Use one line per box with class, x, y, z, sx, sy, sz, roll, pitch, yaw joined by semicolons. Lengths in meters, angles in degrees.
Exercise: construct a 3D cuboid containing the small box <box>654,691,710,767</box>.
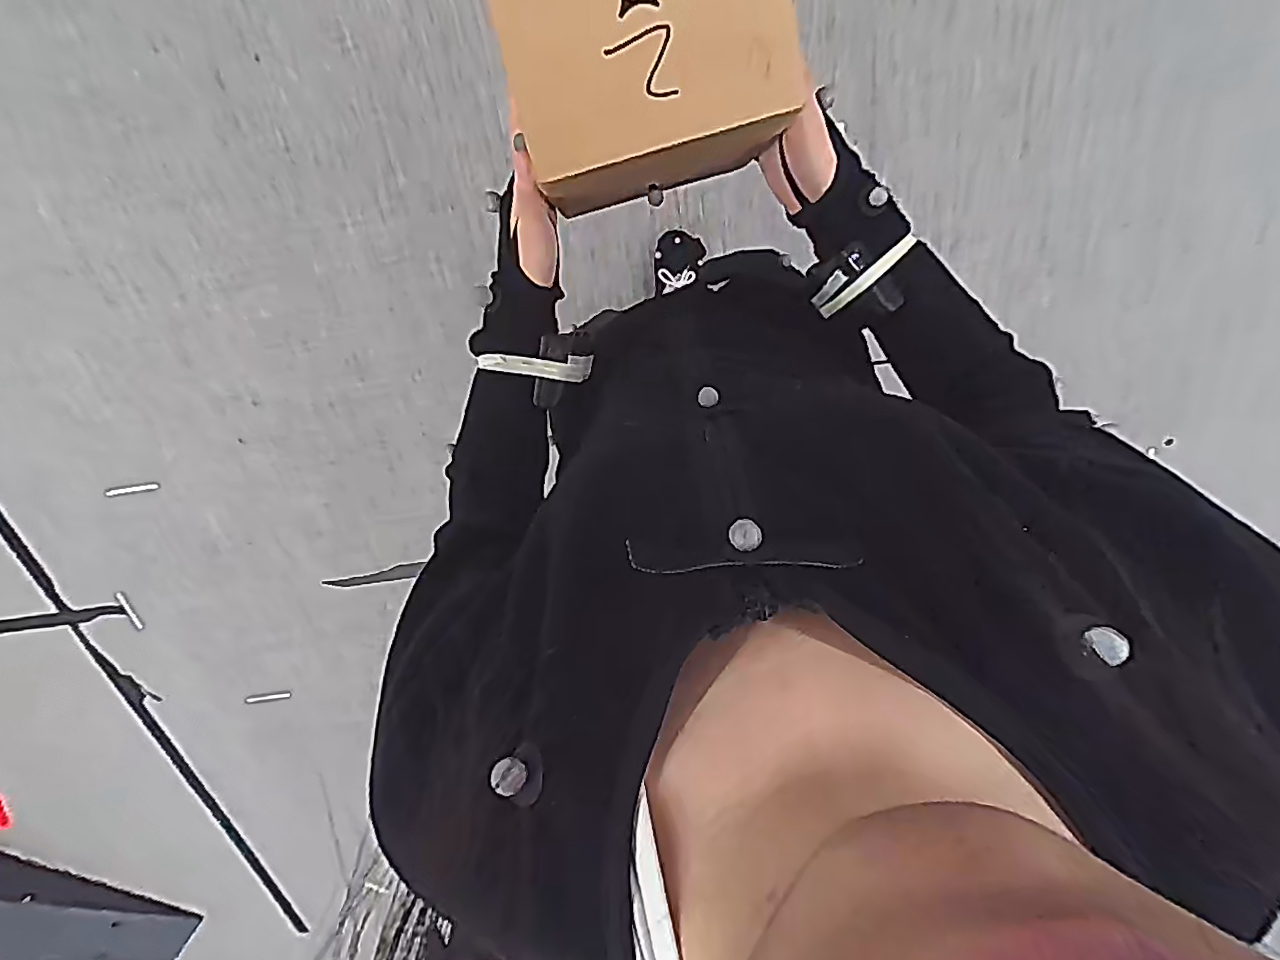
small box;0.141;0.841;1.846;0.168;0.176;0.179;-7;115;2
